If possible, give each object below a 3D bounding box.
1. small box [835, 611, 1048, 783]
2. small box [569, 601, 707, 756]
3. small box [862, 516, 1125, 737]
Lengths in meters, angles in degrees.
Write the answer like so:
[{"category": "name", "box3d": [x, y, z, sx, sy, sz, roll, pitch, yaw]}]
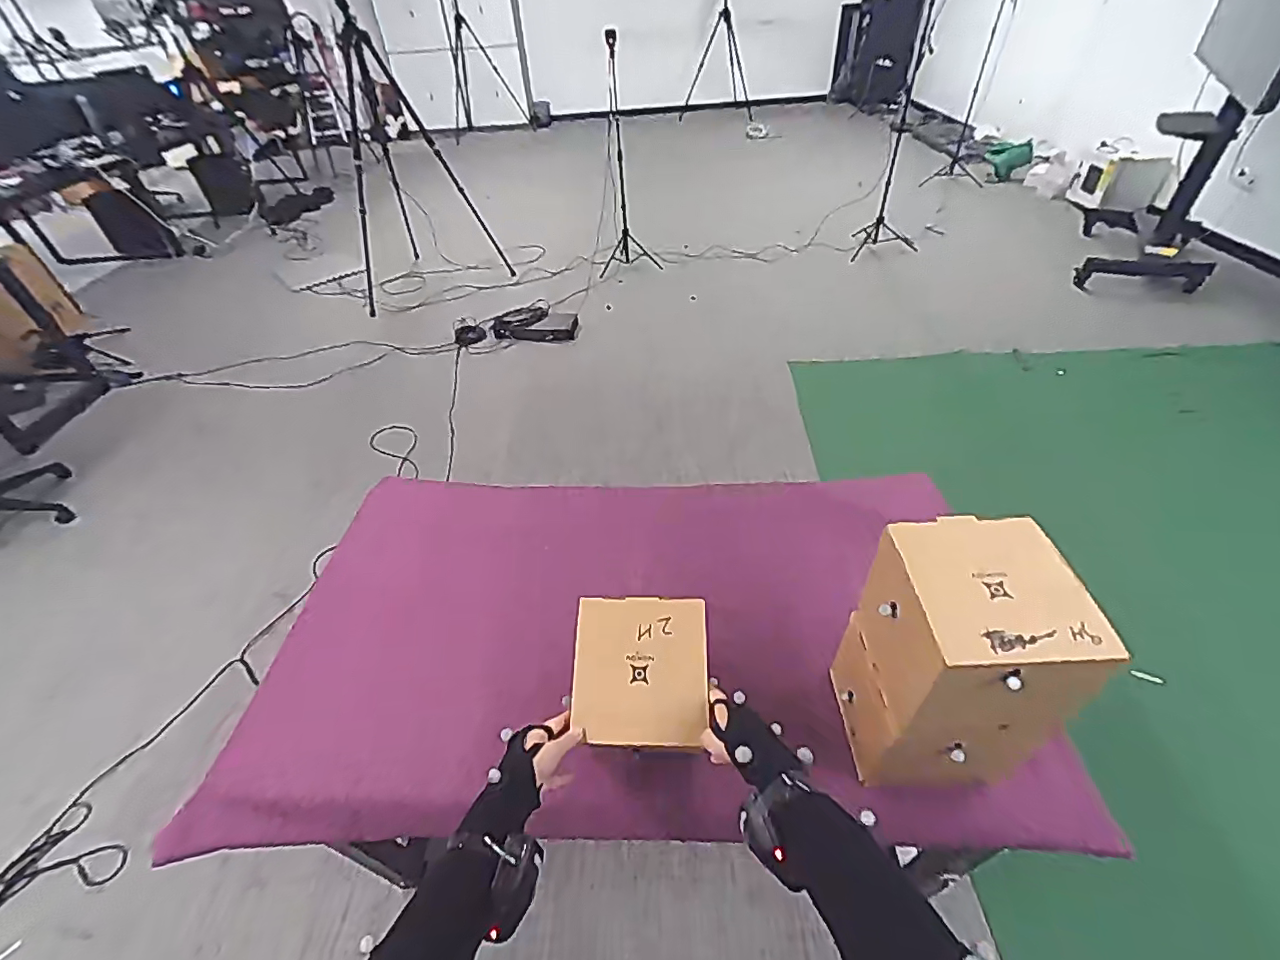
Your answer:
[{"category": "small box", "box3d": [0.377, 0.285, 0.717, 0.179, 0.176, 0.168, -5, 43, 3]}, {"category": "small box", "box3d": [0.004, 0.275, 0.737, 0.168, 0.176, 0.179, 0, 60, 2]}, {"category": "small box", "box3d": [0.365, 0.164, 0.607, 0.168, 0.176, 0.179, -5, 43, 4]}]
